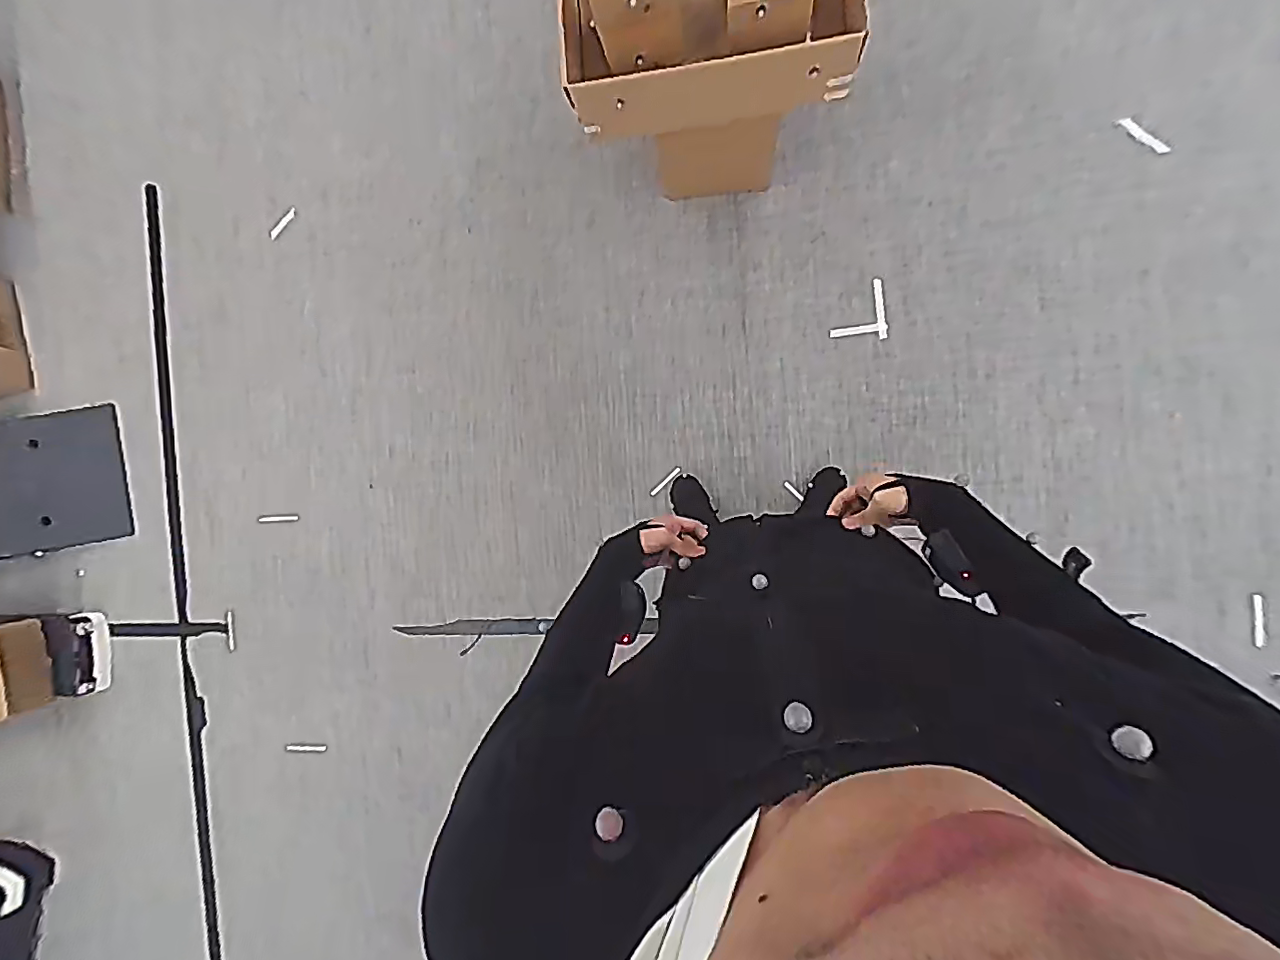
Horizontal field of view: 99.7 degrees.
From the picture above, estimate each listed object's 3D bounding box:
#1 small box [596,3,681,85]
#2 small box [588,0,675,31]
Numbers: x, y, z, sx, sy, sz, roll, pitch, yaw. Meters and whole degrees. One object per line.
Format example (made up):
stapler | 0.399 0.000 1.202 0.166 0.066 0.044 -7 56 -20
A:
small box | -0.011 -1.009 1.159 0.168 0.176 0.179 -12 89 10
small box | -0.035 -0.996 0.997 0.168 0.176 0.179 -11 90 10
